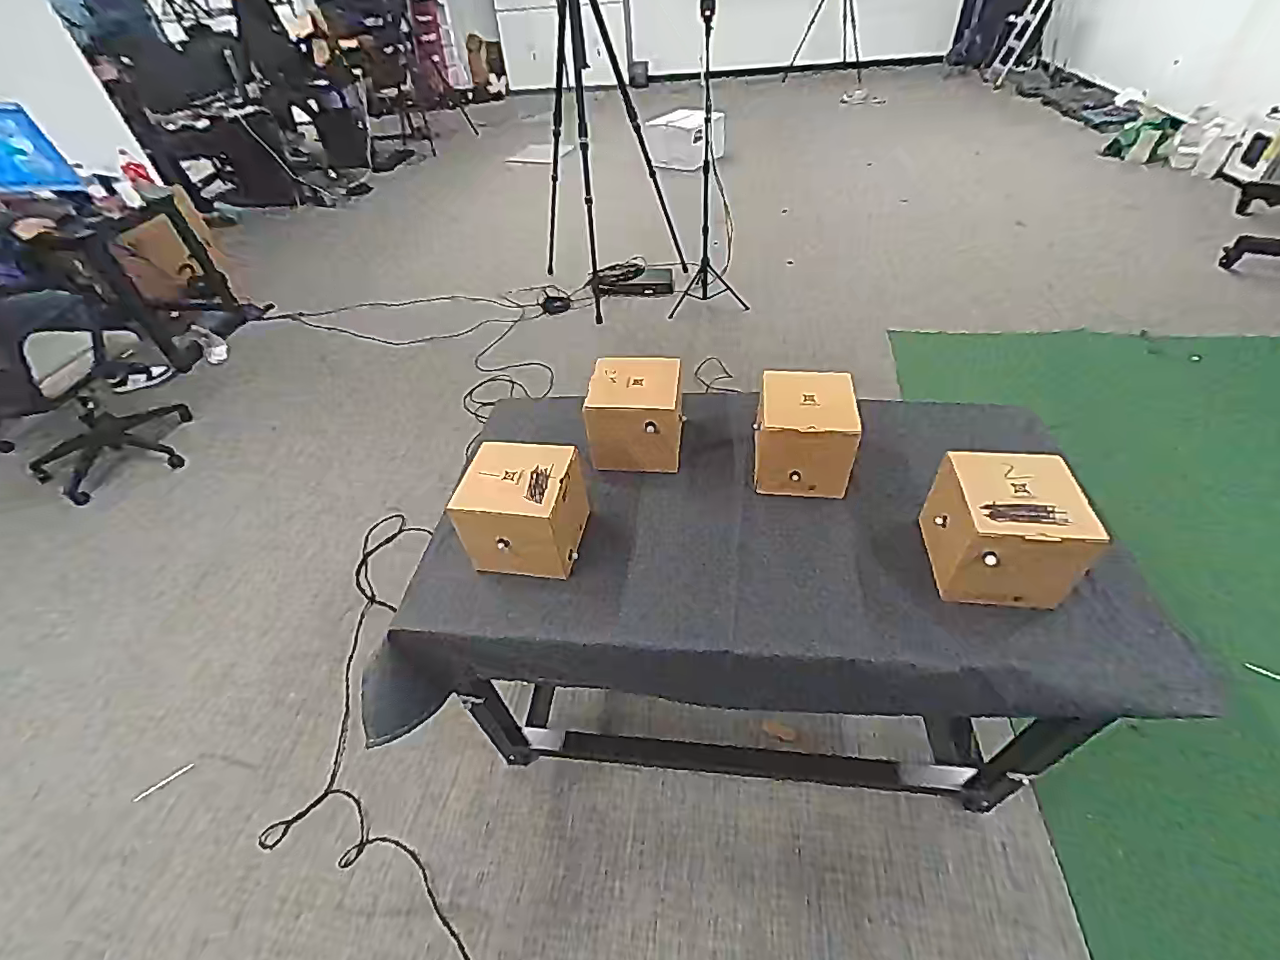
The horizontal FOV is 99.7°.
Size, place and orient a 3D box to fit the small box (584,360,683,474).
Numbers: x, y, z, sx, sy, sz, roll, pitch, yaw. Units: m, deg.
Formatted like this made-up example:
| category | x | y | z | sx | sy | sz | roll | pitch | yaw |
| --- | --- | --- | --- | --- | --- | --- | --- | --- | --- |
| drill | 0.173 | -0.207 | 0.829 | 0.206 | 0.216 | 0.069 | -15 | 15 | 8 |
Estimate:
| category | x | y | z | sx | sy | sz | roll | pitch | yaw |
| --- | --- | --- | --- | --- | --- | --- | --- | --- | --- |
| small box | -0.005 | -0.127 | 1.112 | 0.179 | 0.176 | 0.168 | 2 | 46 | 8 |

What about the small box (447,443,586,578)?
| category | x | y | z | sx | sy | sz | roll | pitch | yaw |
| --- | --- | --- | --- | --- | --- | --- | --- | --- | --- |
| small box | -0.202 | 0.056 | 0.950 | 0.179 | 0.176 | 0.168 | 4 | 45 | 10 |

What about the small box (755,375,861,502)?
| category | x | y | z | sx | sy | sz | roll | pitch | yaw |
| --- | --- | --- | --- | --- | --- | --- | --- | --- | --- |
| small box | 0.313 | -0.081 | 1.044 | 0.168 | 0.176 | 0.179 | 4 | 47 | 8 |
